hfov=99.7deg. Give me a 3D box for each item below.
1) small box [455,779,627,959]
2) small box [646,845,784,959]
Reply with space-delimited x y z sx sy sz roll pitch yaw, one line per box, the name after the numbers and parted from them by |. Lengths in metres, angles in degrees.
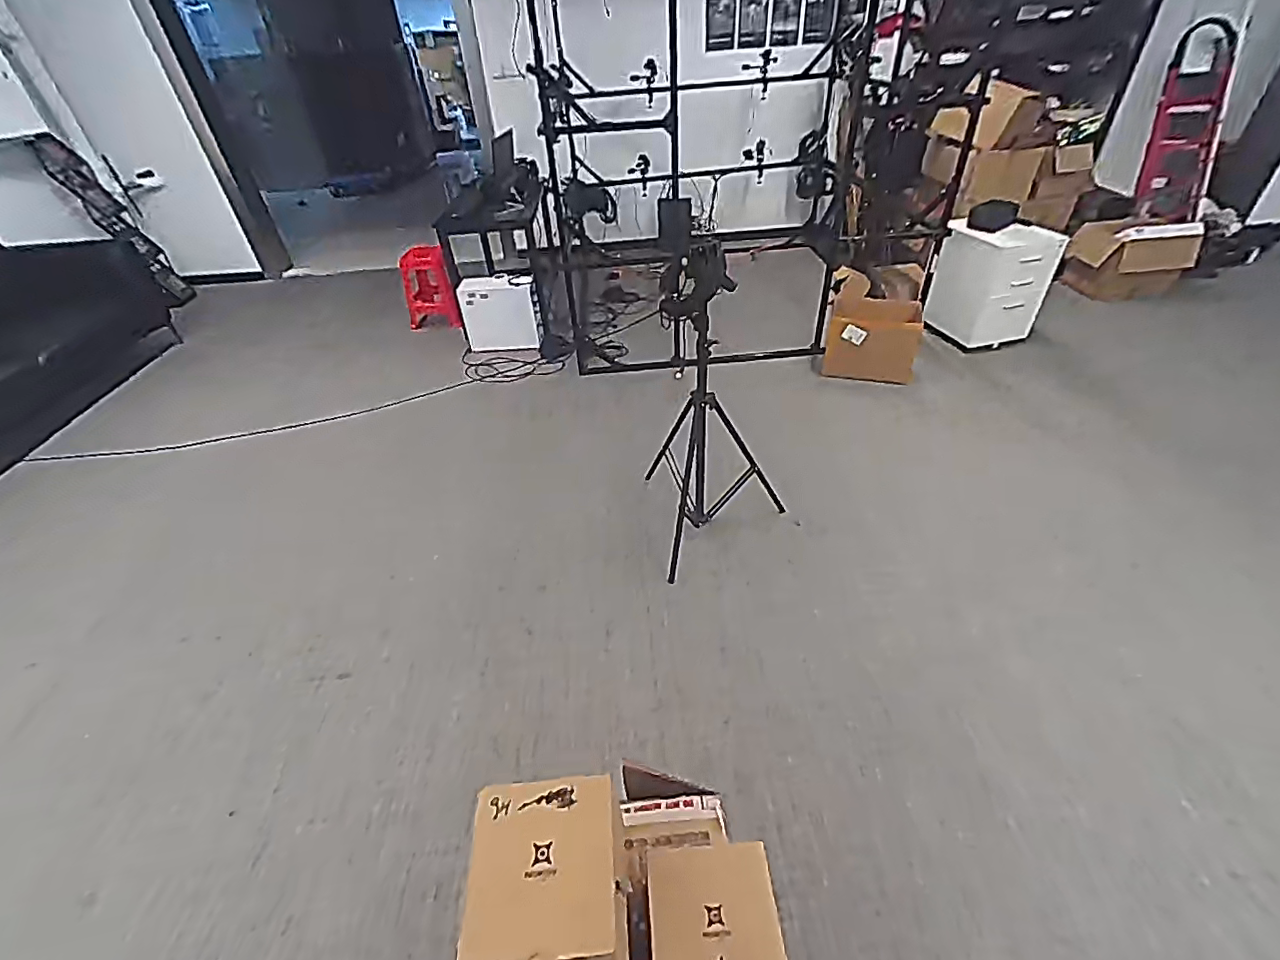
-0.106 0.491 0.654 0.168 0.176 0.179 -5 42 0 | small box
0.094 0.627 0.733 0.168 0.176 0.179 -3 41 -2 | small box
